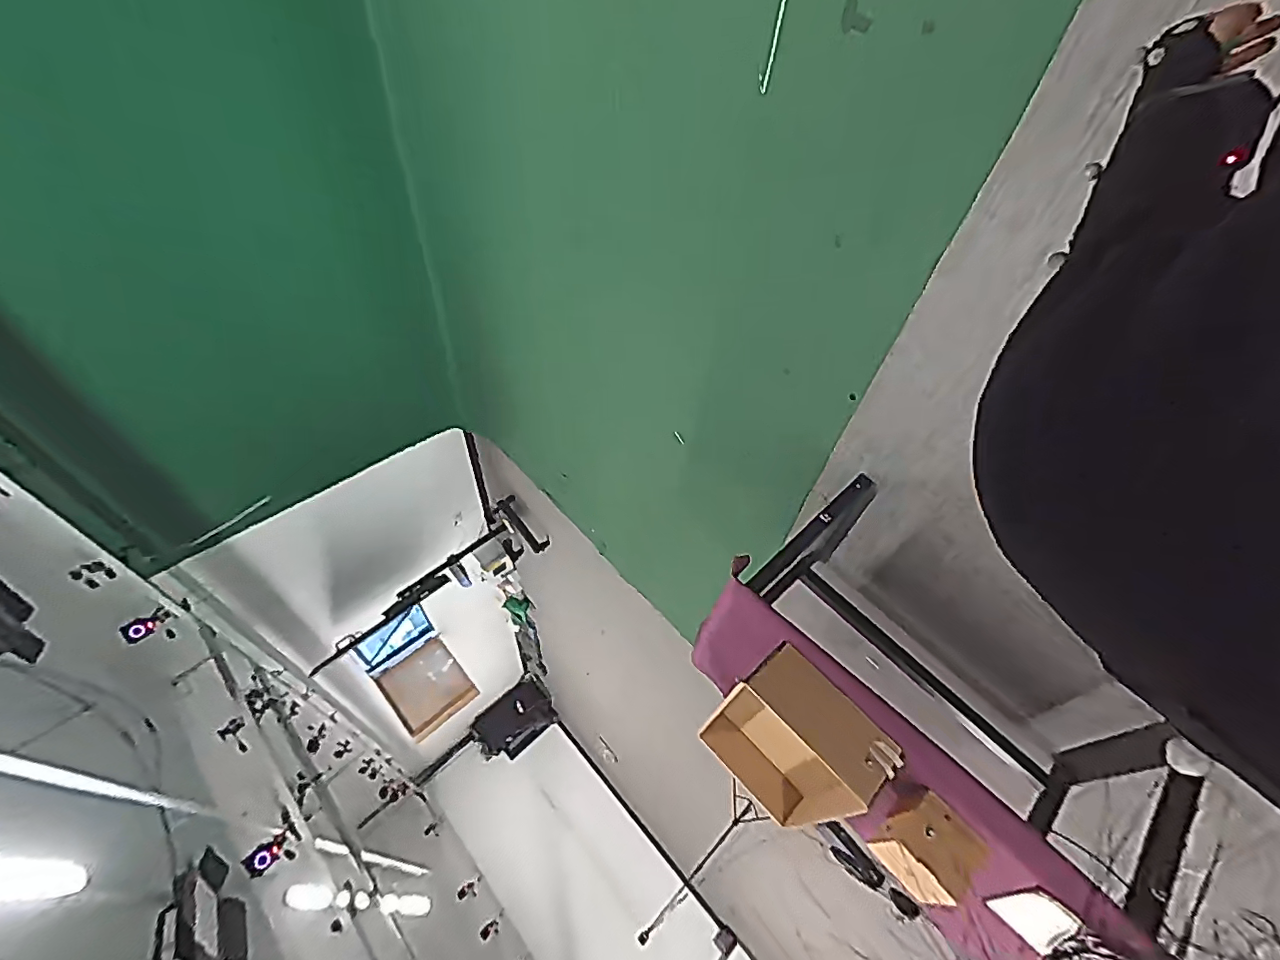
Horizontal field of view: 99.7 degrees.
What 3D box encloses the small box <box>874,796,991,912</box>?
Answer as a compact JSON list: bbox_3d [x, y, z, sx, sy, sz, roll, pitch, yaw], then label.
[{"bbox_3d":[0.721,0.911,1.329,0.168,0.176,0.179,43,151,23],"label":"small box"}]
